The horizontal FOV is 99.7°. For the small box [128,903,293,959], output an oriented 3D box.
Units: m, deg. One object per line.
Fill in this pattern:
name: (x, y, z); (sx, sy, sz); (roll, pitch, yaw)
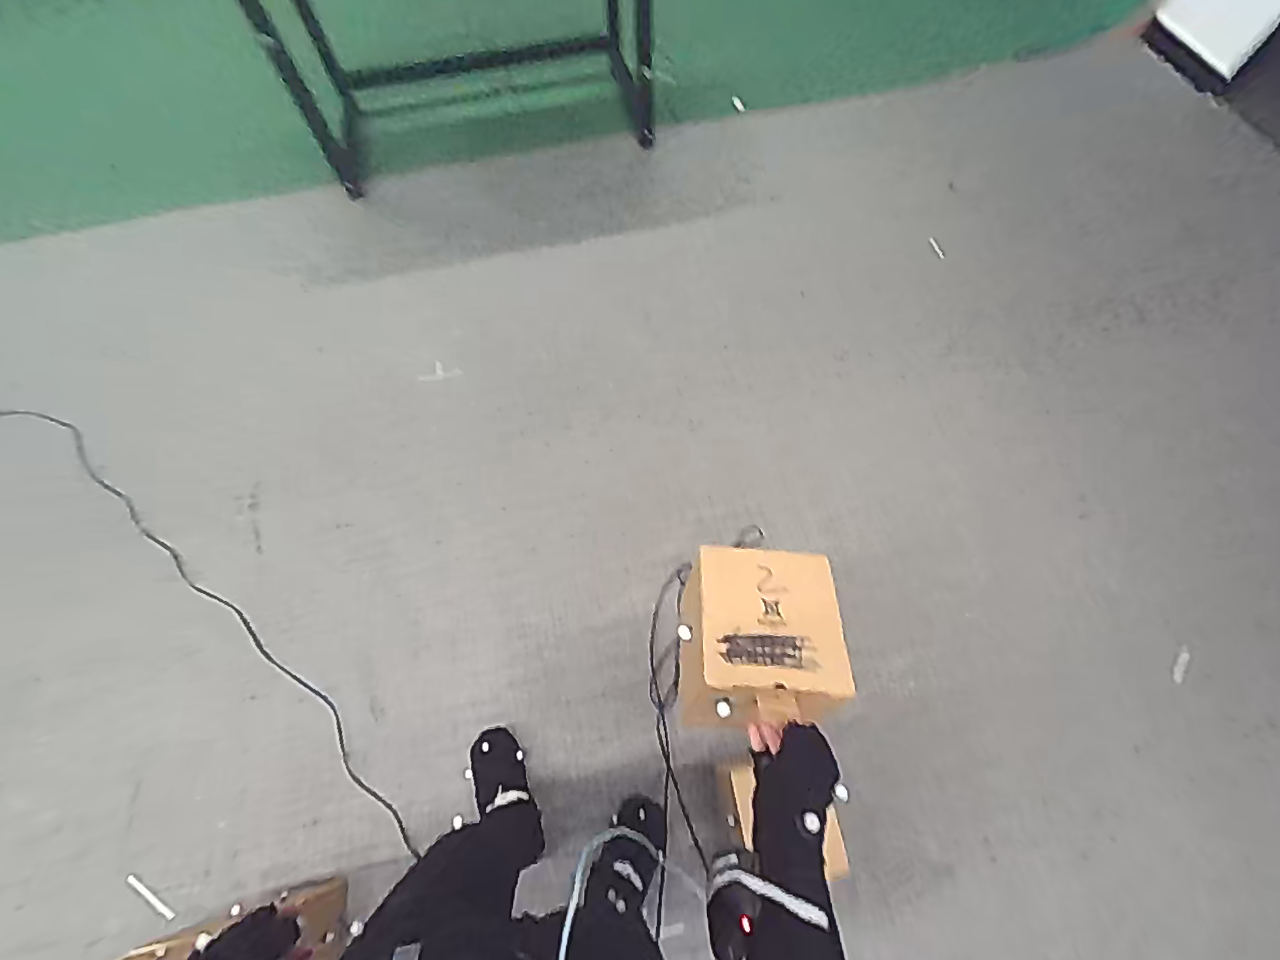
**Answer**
small box: (-0.711, 0.844, 0.897); (0.168, 0.176, 0.179); (-10, 65, -3)

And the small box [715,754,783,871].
small box: (0.255, 0.681, 1.124); (0.168, 0.176, 0.179); (-6, 65, -2)

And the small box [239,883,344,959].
small box: (-0.701, 0.913, 1.047); (0.179, 0.176, 0.168); (-10, 65, -4)

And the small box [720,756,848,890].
small box: (0.250, 0.614, 0.992); (0.168, 0.176, 0.179); (-8, 66, -3)

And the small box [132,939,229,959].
small box: (-0.713, 0.784, 0.746); (0.168, 0.176, 0.179); (-10, 65, -3)
